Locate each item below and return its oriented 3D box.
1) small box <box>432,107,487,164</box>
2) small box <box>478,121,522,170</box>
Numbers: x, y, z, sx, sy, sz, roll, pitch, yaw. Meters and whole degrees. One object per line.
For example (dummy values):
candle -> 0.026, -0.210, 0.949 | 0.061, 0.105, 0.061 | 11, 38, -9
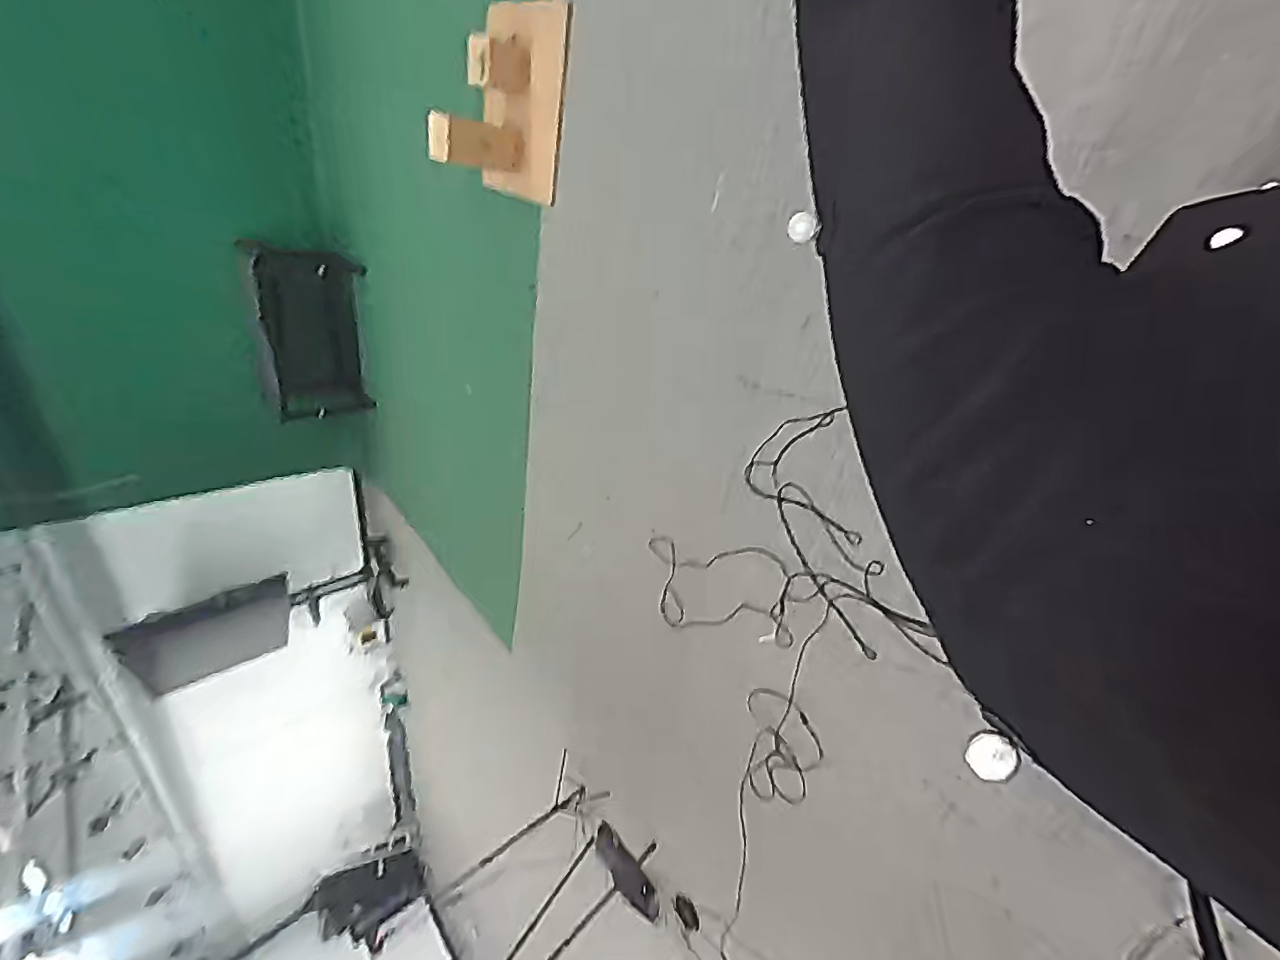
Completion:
small box -> -0.768, -1.464, 2.304 | 0.179, 0.176, 0.168 | 39, 130, 34
small box -> -0.641, -1.491, 2.403 | 0.179, 0.176, 0.168 | 39, 130, 35
